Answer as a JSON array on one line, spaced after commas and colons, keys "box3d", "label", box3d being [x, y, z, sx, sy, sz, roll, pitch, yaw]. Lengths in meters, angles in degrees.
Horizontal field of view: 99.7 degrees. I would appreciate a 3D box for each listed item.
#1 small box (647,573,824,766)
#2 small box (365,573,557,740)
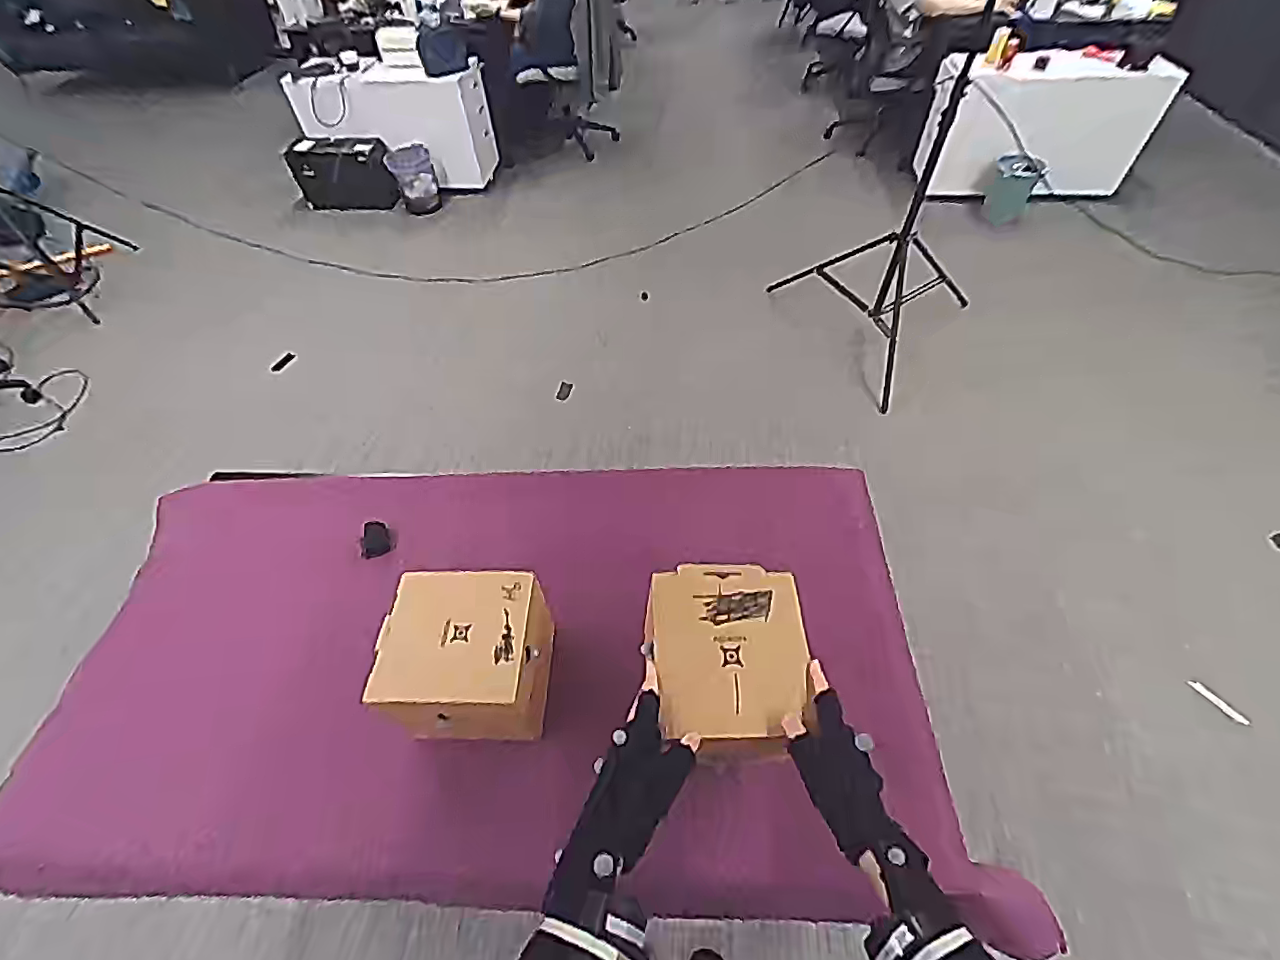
[{"box3d": [0.095, 0.226, 0.638, 0.168, 0.176, 0.179, 0, 54, -2], "label": "small box"}, {"box3d": [-0.218, 0.236, 0.714, 0.179, 0.176, 0.168, -1, 51, 2], "label": "small box"}]
